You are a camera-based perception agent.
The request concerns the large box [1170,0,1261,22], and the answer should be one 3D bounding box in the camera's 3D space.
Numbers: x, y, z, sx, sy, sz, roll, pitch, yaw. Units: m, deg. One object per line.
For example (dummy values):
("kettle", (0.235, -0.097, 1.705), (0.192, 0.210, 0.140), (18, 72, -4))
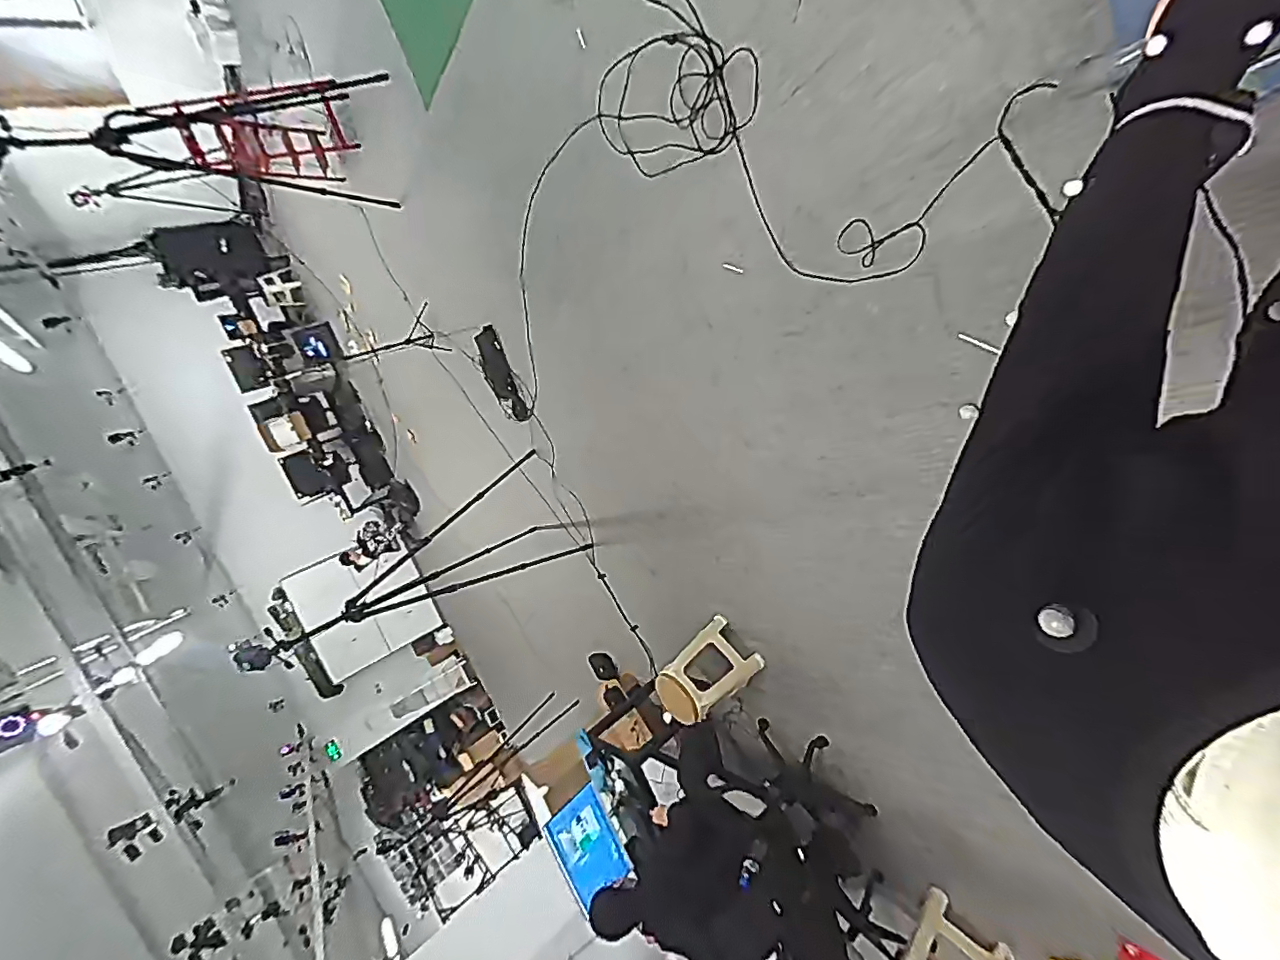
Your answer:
("large box", (0.838, -0.881, 0.651), (0.320, 0.320, 0.408), (-8, 105, 55))
